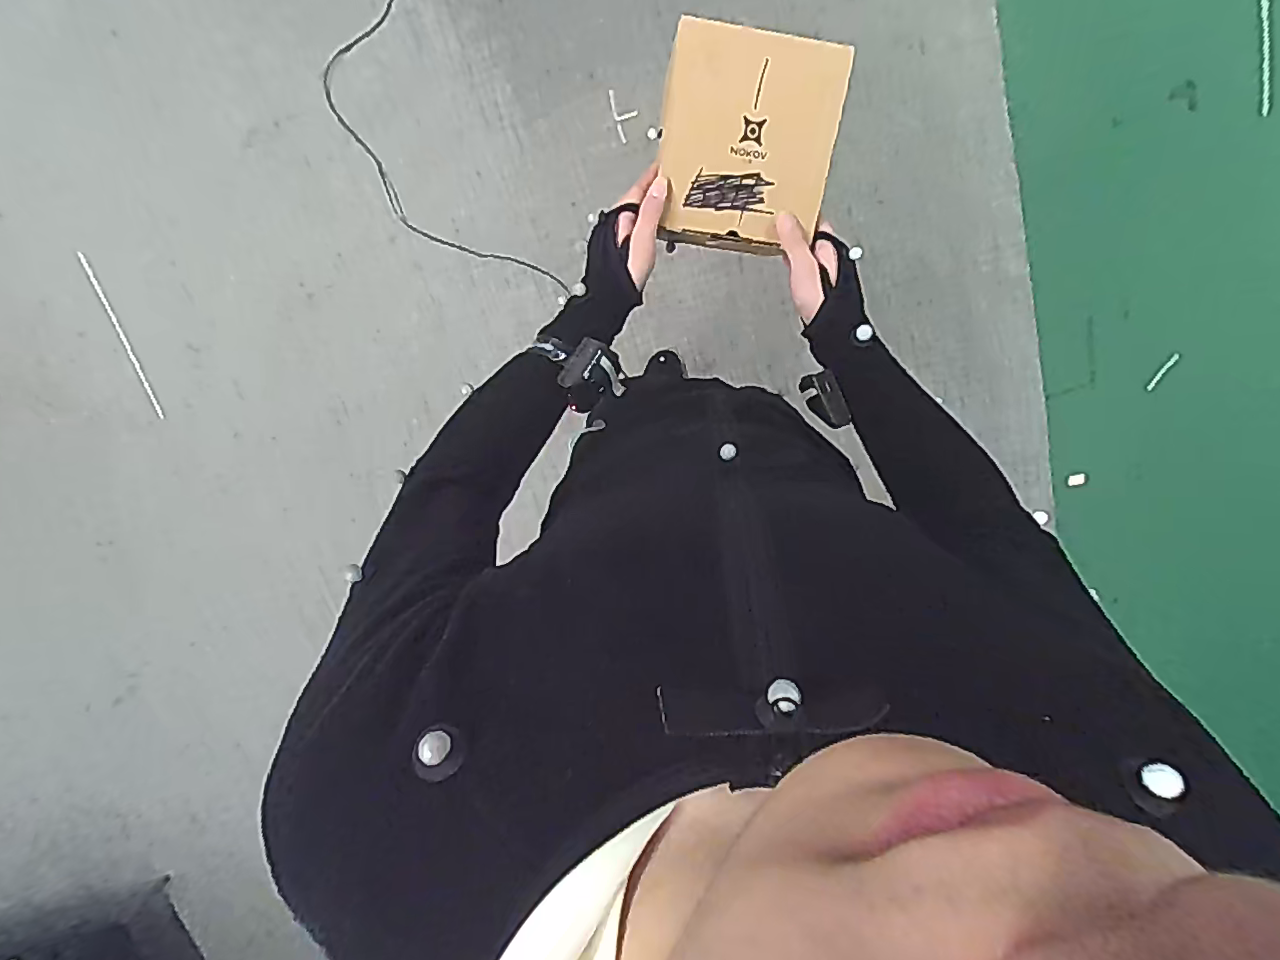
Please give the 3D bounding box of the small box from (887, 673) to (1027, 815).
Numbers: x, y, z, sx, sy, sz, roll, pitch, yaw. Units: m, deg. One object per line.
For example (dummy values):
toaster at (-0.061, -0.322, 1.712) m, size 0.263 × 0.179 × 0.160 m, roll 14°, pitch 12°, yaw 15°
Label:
small box at (0.610, 0.511, 1.064) m, size 0.179 × 0.176 × 0.168 m, roll -17°, pitch 101°, yaw 5°

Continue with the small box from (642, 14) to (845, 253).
small box at (0.094, -0.353, 0.590) m, size 0.168 × 0.176 × 0.179 m, roll 6°, pitch 109°, yaw -5°
